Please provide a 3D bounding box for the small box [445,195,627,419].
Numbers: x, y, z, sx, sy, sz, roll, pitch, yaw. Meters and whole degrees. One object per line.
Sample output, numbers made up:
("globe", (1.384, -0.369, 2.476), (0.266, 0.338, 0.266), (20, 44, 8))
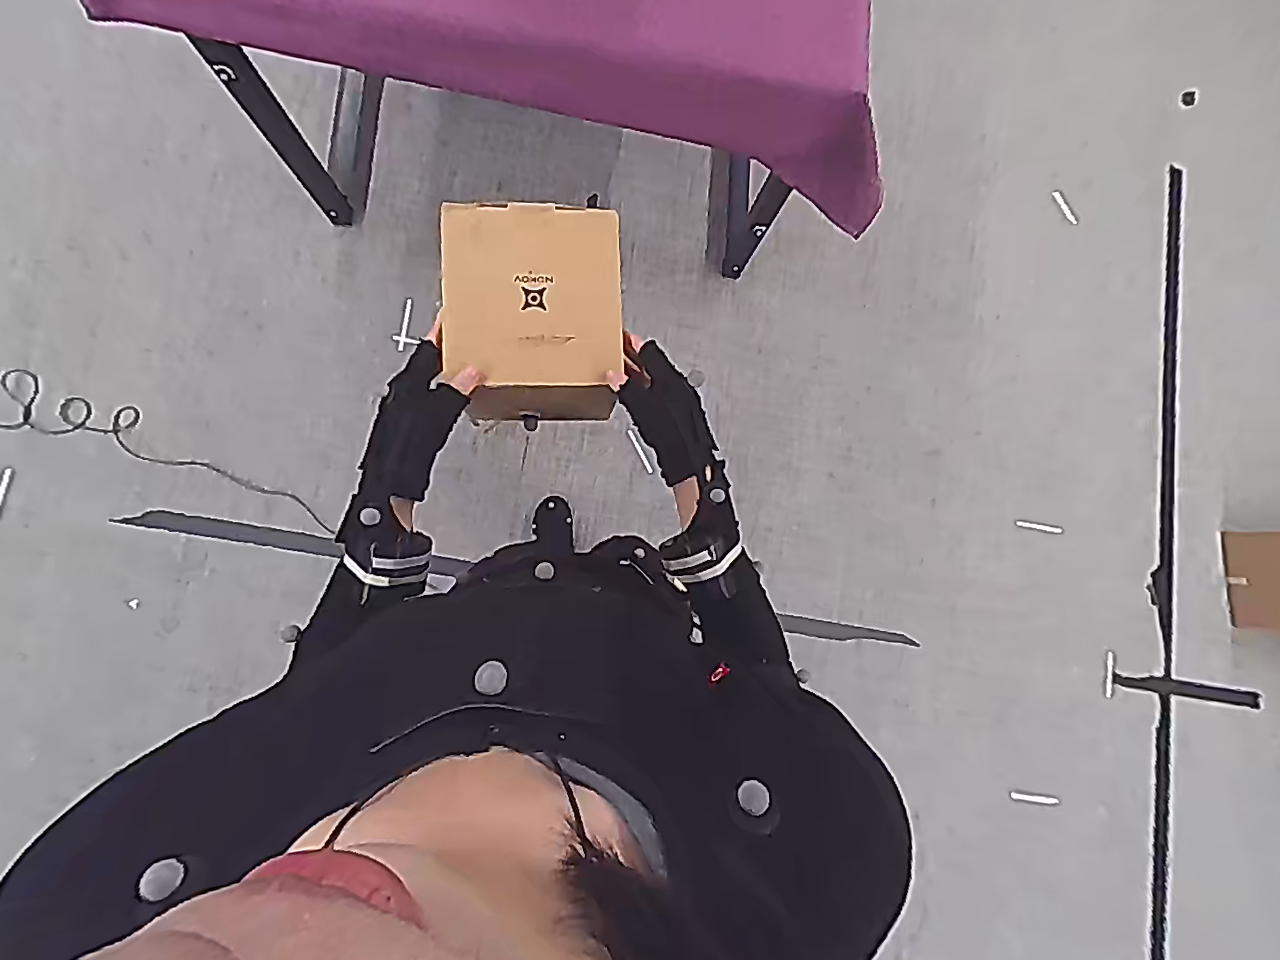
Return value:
("small box", (-0.106, -0.168, 0.576), (0.168, 0.176, 0.179), (-1, 85, -8))
